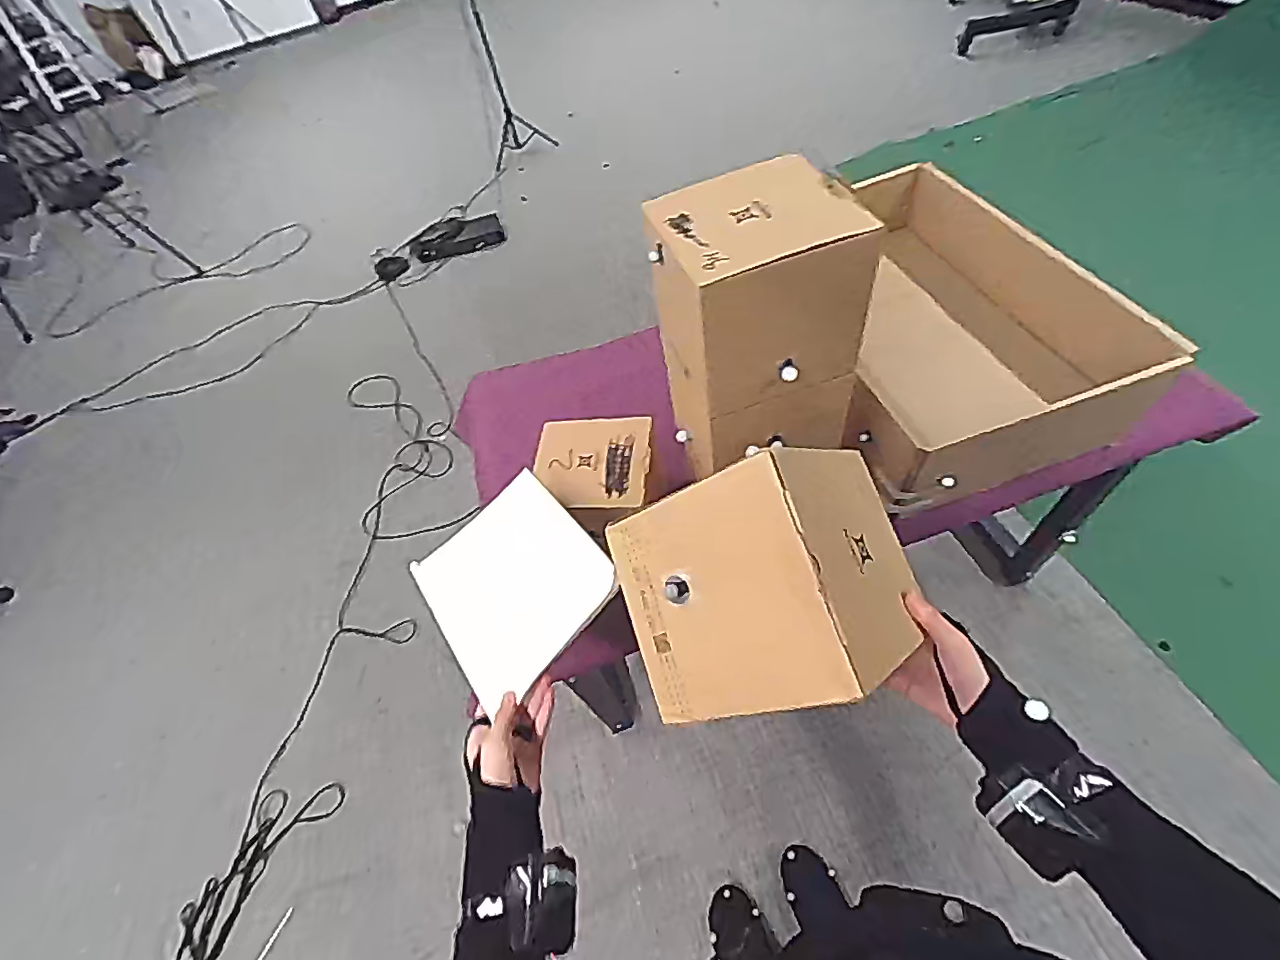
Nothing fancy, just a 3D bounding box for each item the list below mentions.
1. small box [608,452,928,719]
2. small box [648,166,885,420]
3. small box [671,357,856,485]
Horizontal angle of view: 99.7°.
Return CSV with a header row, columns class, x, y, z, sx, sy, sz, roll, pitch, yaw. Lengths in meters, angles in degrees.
class,x,y,z,sx,sy,sz,roll,pitch,yaw
small box,0.103,0.085,0.455,0.176,0.179,0.168,-30,72,40
small box,0.121,-0.193,0.572,0.179,0.176,0.168,-18,51,-3
small box,0.148,-0.095,0.702,0.179,0.176,0.168,-19,51,-2
